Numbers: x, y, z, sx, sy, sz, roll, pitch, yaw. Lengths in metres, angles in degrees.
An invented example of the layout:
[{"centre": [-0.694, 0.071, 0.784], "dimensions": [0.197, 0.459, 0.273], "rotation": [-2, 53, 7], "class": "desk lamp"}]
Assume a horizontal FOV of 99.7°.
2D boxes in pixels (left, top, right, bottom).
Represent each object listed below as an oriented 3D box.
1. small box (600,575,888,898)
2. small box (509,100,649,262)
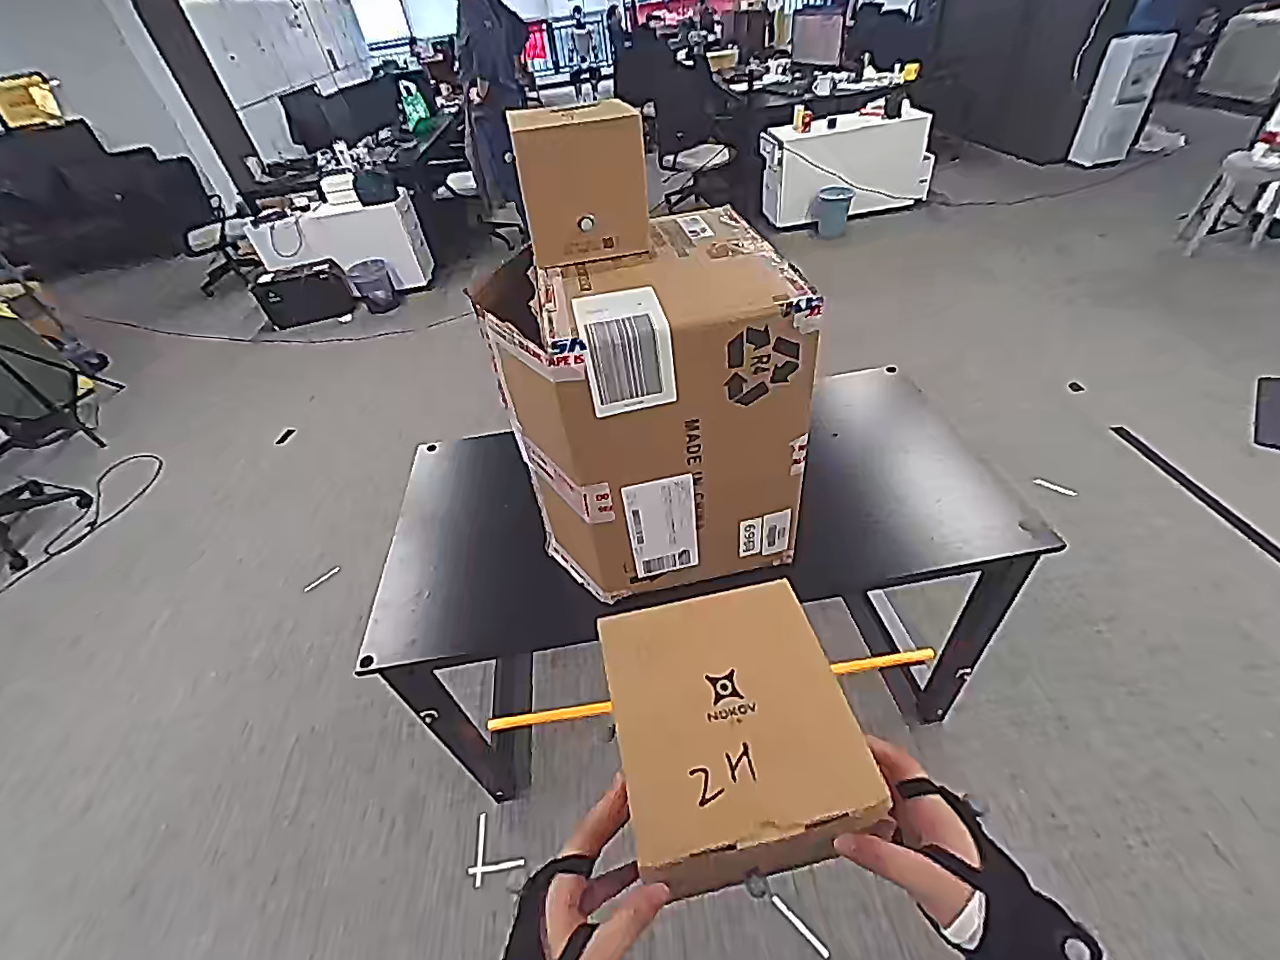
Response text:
[{"centre": [0.066, 0.210, 0.447], "dimensions": [0.168, 0.176, 0.179], "rotation": [-11, 46, -5], "class": "small box"}, {"centre": [-0.088, -0.428, 0.775], "dimensions": [0.168, 0.176, 0.179], "rotation": [-12, 41, -6], "class": "small box"}]
